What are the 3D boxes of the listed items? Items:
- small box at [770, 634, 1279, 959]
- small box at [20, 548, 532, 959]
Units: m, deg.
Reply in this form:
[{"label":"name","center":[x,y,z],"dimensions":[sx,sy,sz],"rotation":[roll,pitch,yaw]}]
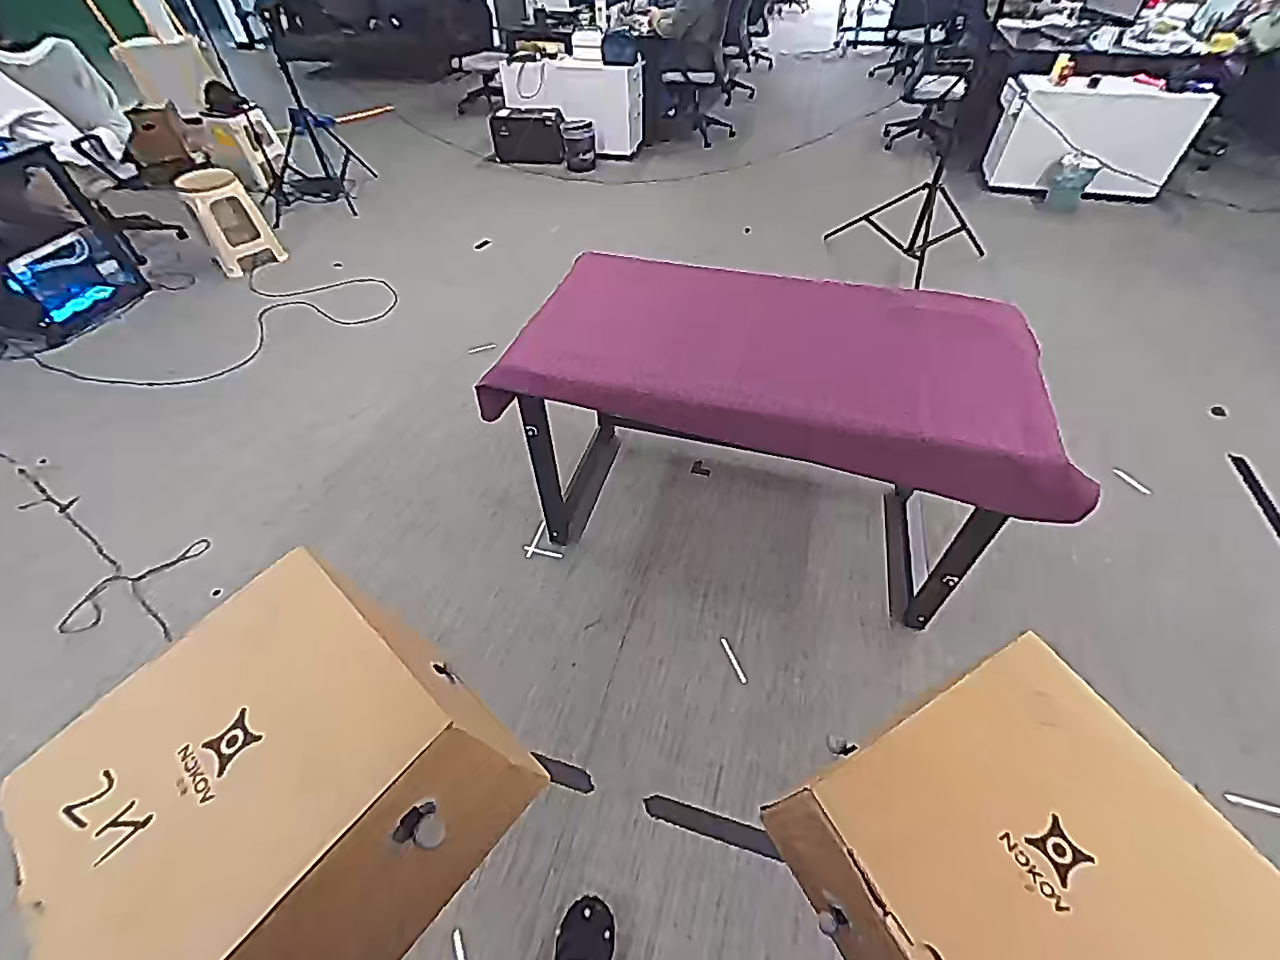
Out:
[{"label":"small box","center":[0.206,0.231,0.339],"dimensions":[0.179,0.176,0.168],"rotation":[-27,59,-15]},{"label":"small box","center":[-0.187,0.182,0.331],"dimensions":[0.168,0.176,0.179],"rotation":[31,65,30]}]
